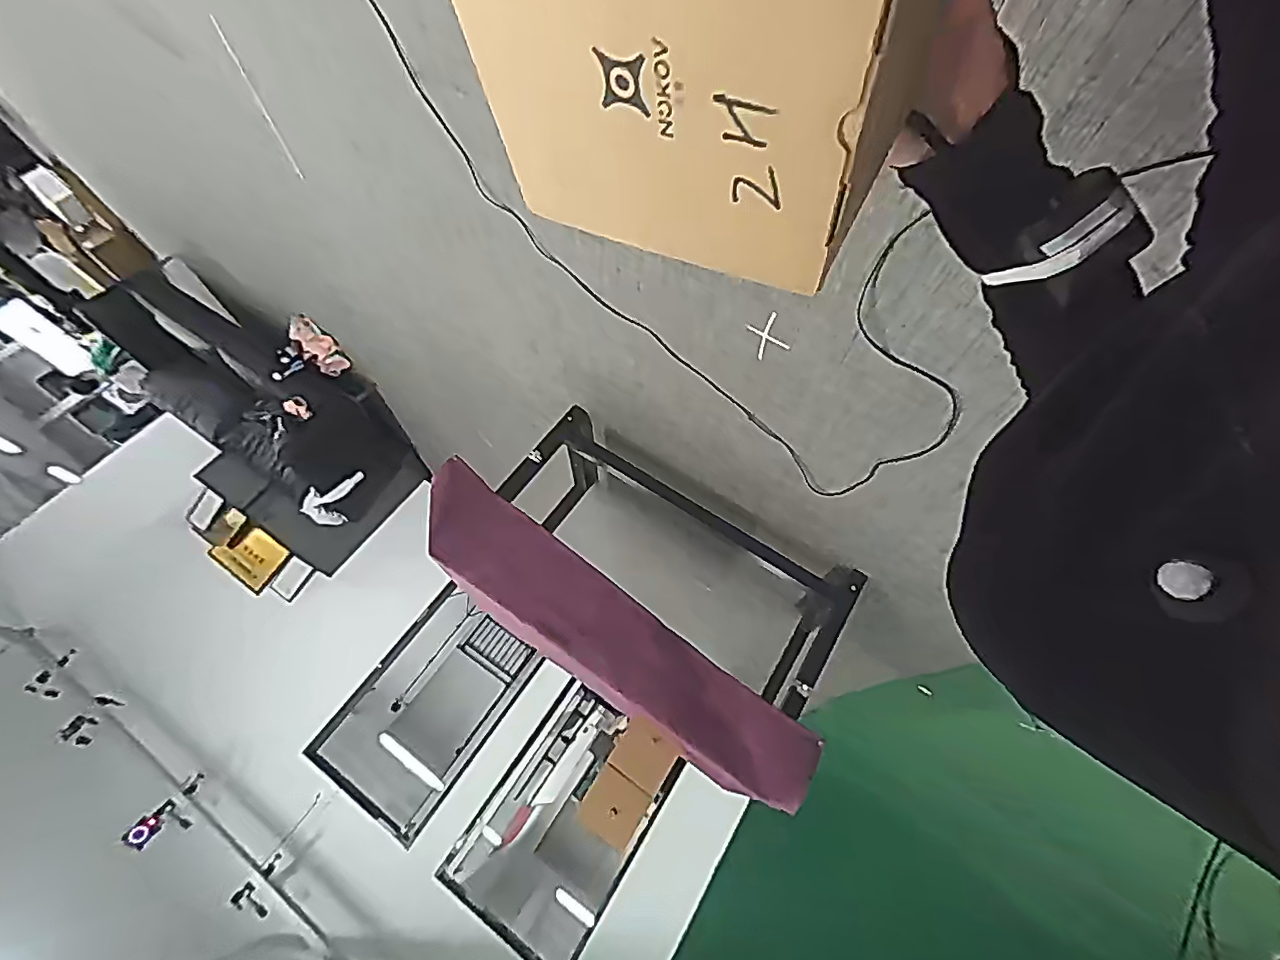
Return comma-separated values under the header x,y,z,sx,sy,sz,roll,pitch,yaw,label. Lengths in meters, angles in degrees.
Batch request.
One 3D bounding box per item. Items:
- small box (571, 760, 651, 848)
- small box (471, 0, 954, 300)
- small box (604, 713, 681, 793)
x,y,z,sx,sy,sz,roll,pitch,yaw,label
-0.086,0.981,1.655,0.179,0.176,0.168,30,156,15,small box
0.045,-0.225,0.253,0.179,0.176,0.168,24,162,16,small box
0.008,0.863,1.720,0.179,0.176,0.168,31,156,16,small box
